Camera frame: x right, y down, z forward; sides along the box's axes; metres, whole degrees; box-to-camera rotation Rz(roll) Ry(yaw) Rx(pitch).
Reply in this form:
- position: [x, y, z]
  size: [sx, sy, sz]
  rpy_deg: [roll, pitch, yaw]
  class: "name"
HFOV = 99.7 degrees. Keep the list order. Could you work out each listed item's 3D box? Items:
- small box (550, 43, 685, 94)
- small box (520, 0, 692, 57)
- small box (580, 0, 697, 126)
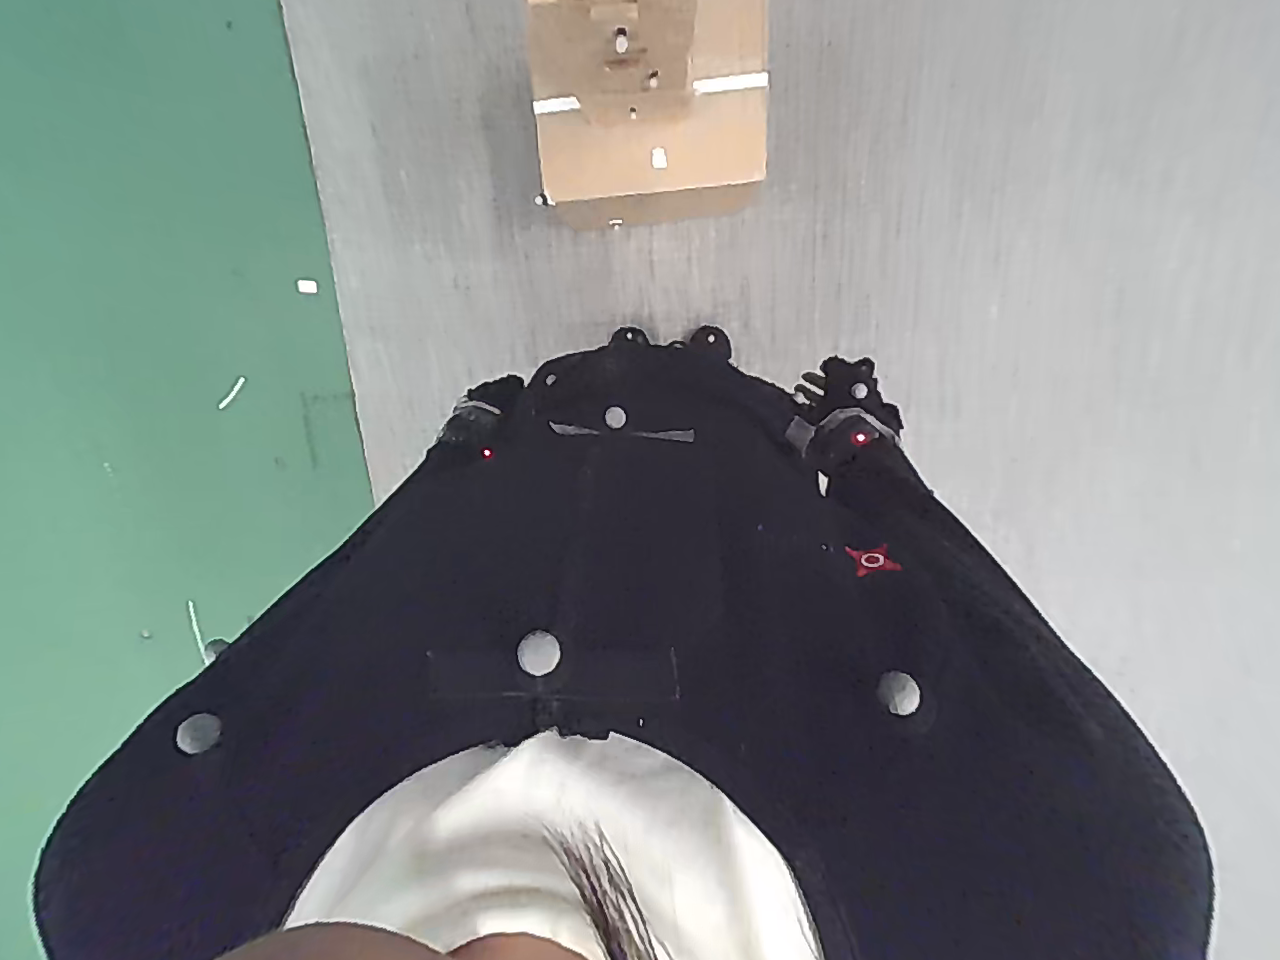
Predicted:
- position: [-0.025, -0.621, 0.696]
  size: [0.168, 0.176, 0.179]
  rpy_deg: [-1, 111, 4]
  class: "small box"
- position: [-0.030, -0.557, 0.545]
  size: [0.168, 0.176, 0.179]
  rpy_deg: [-2, 113, 4]
  class: "small box"
- position: [-0.005, -0.674, 0.848]
  size: [0.179, 0.176, 0.168]
  rpy_deg: [-4, 112, 5]
  class: "small box"
